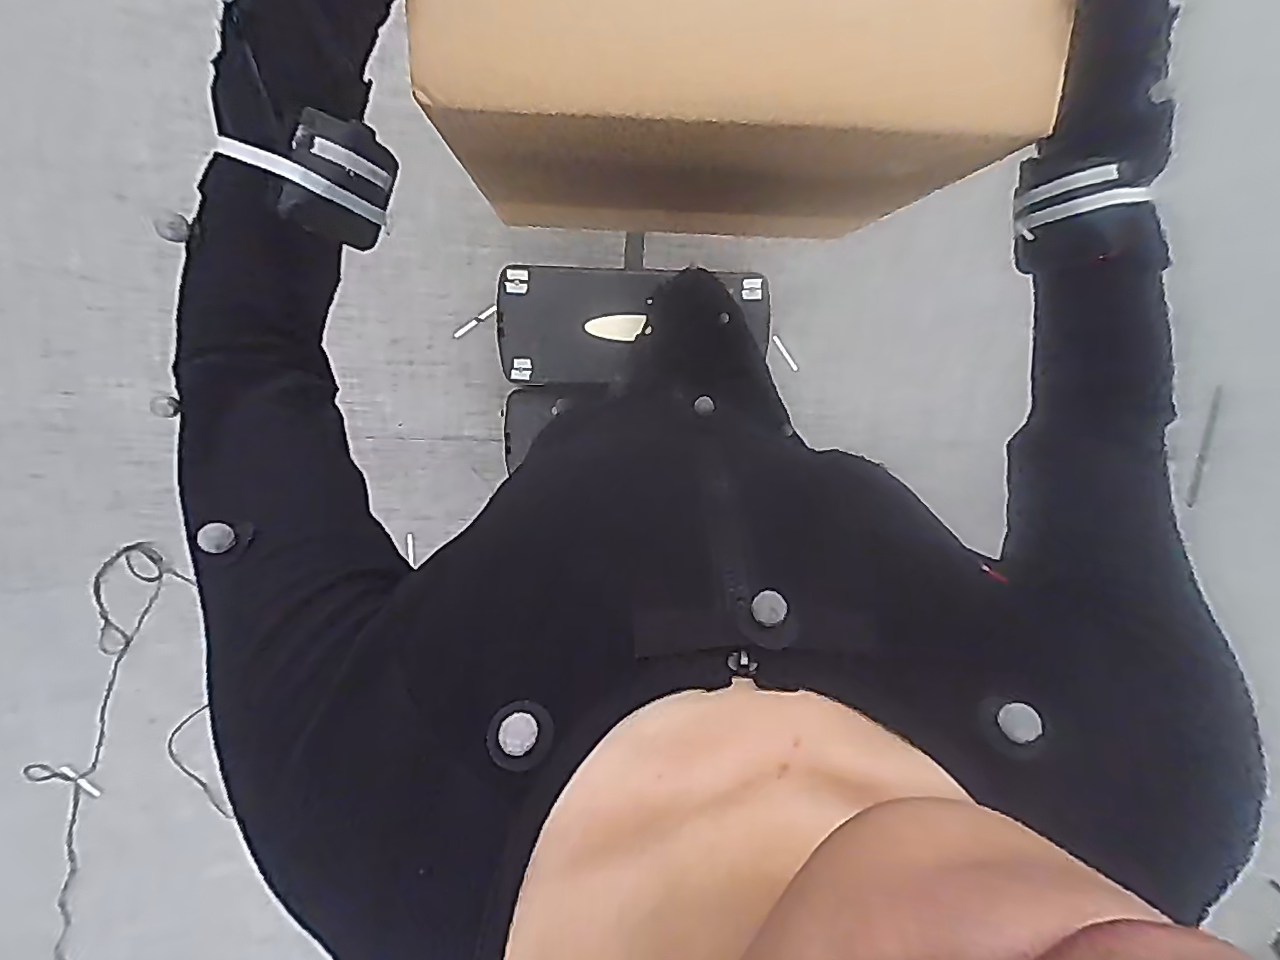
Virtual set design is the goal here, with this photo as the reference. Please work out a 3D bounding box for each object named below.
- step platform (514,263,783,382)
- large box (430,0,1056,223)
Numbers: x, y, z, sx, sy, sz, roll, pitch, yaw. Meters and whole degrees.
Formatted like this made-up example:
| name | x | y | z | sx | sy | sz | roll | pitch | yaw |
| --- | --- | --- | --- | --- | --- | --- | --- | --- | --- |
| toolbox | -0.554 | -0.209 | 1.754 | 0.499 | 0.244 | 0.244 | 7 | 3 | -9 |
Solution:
| name | x | y | z | sx | sy | sz | roll | pitch | yaw |
| --- | --- | --- | --- | --- | --- | --- | --- | --- | --- |
| step platform | 0.021 | -0.402 | 1.403 | 0.684 | 0.204 | 0.286 | -1 | 103 | -5 |
| large box | 0.056 | -0.420 | 0.460 | 0.408 | 0.320 | 0.320 | -1 | 104 | -5 |
